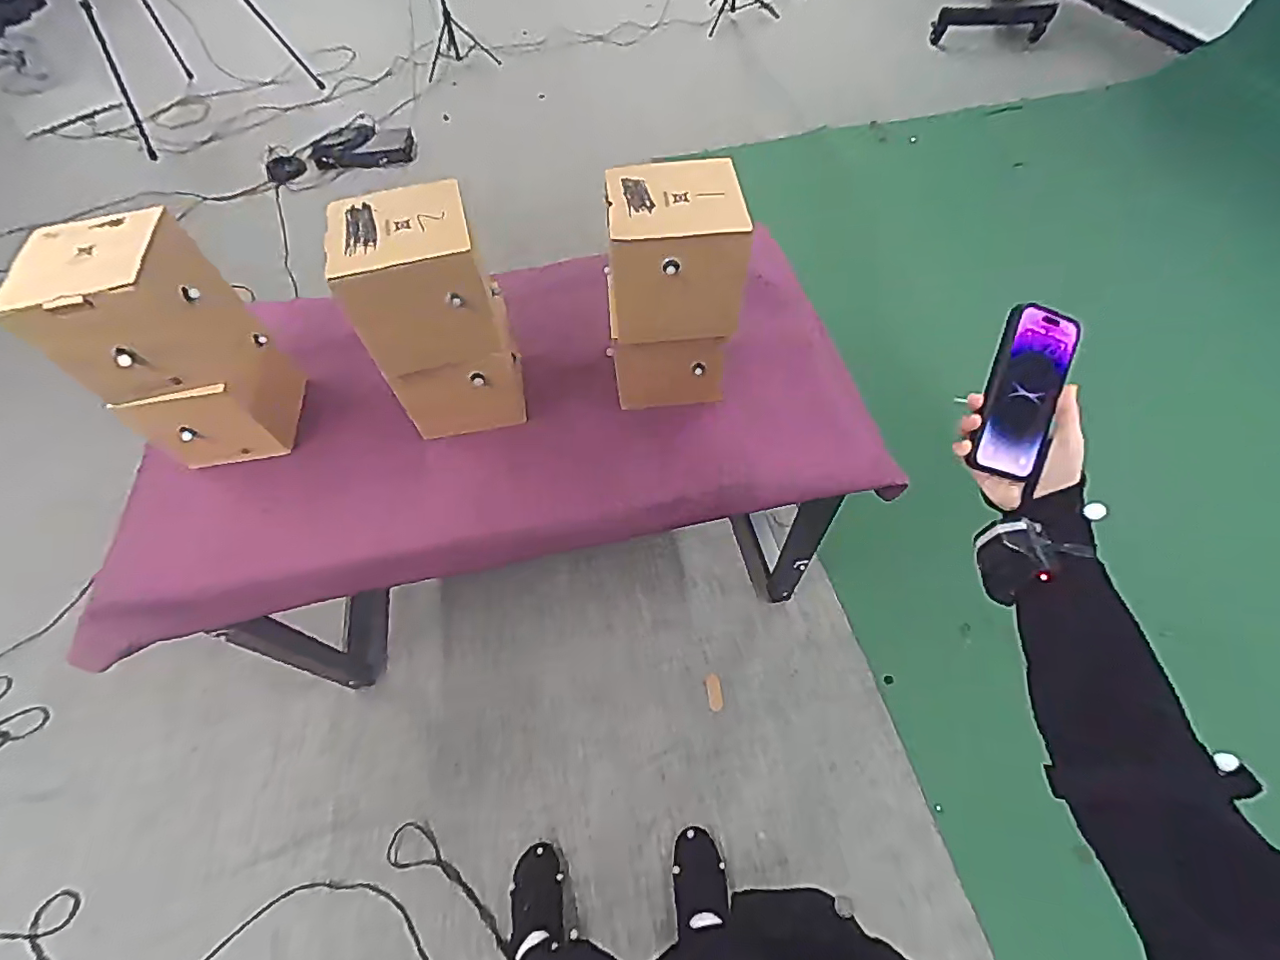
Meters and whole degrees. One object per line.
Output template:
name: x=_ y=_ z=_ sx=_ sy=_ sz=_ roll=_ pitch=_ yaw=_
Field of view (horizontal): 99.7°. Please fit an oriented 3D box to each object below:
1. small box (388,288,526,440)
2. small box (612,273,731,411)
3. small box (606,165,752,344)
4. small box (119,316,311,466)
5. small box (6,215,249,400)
small box: x=-0.290 y=-0.187 z=0.896 sx=0.179 sy=0.176 sz=0.168 roll=-10 pitch=58 yaw=-3
small box: x=0.048 y=-0.233 z=0.905 sx=0.179 sy=0.176 sz=0.168 roll=-5 pitch=57 yaw=2
small box: x=0.050 y=-0.309 z=0.759 sx=0.179 sy=0.176 sz=0.168 roll=-5 pitch=57 yaw=0
small box: x=-0.678 y=-0.137 z=0.890 sx=0.168 sy=0.176 sz=0.179 roll=-9 pitch=58 yaw=-2
small box: x=-0.688 y=-0.231 z=0.756 sx=0.168 sy=0.176 sz=0.179 roll=-13 pitch=59 yaw=-6
